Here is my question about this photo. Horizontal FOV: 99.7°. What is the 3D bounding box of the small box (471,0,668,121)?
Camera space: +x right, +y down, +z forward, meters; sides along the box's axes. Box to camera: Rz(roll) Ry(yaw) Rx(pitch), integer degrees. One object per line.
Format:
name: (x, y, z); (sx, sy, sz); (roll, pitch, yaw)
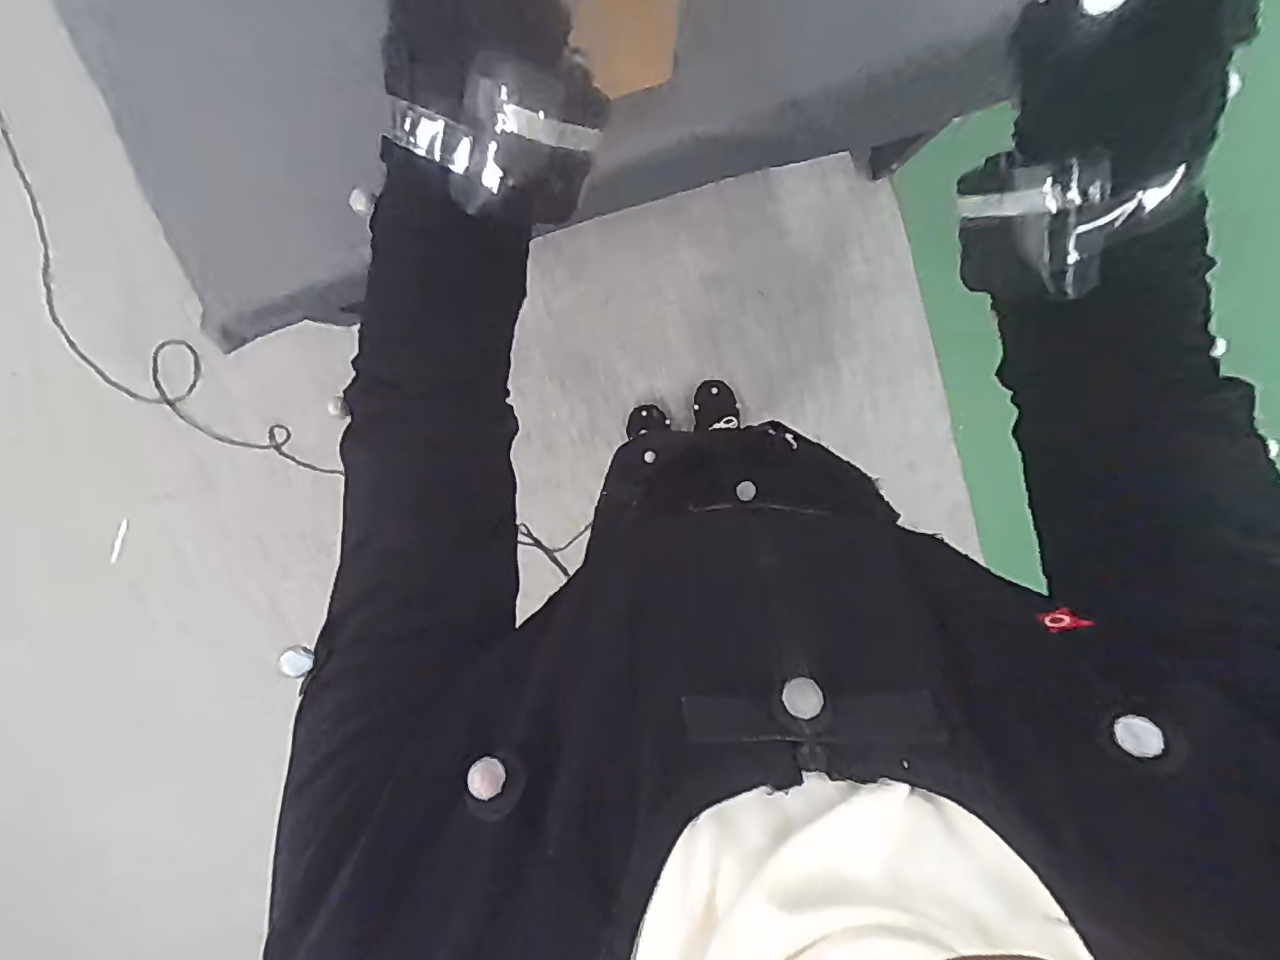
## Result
small box: (-0.072, -0.494, 0.530); (0.179, 0.176, 0.168); (-16, 99, 4)
